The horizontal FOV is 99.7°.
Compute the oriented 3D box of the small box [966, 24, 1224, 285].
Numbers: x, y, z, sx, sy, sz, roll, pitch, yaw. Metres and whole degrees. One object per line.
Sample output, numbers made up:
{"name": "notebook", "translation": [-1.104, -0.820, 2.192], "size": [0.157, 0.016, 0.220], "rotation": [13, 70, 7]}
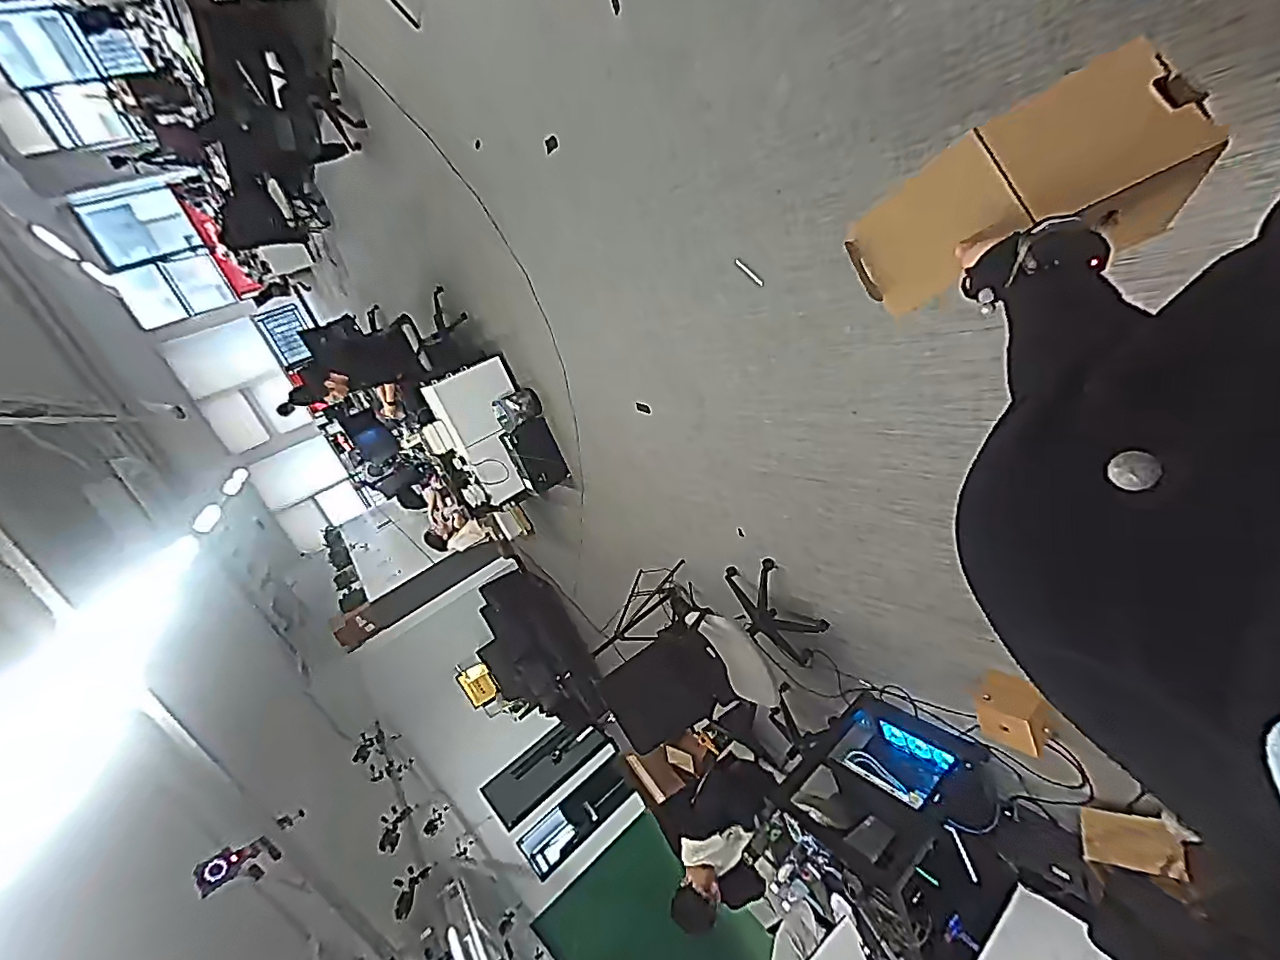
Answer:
{"name": "small box", "translation": [0.522, -0.373, 0.659], "size": [0.176, 0.179, 0.168], "rotation": [17, -127, -62]}
